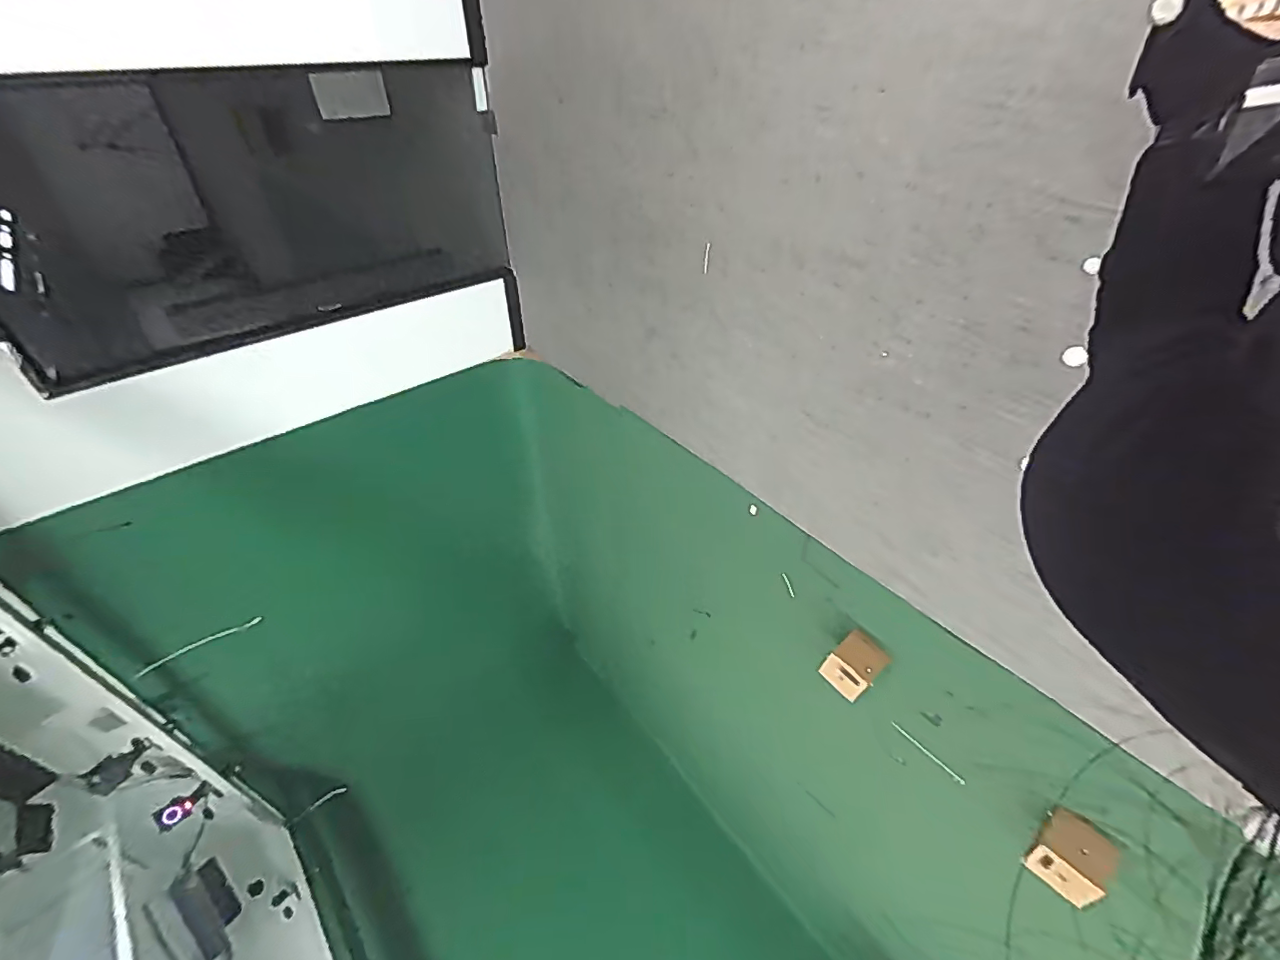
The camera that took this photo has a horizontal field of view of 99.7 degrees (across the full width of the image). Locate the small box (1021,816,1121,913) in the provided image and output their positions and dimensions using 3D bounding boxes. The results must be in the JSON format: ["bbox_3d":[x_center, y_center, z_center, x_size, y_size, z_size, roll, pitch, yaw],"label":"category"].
[{"bbox_3d":[1.383,1.223,1.736,0.179,0.176,0.168,35,141,35],"label":"small box"}]
